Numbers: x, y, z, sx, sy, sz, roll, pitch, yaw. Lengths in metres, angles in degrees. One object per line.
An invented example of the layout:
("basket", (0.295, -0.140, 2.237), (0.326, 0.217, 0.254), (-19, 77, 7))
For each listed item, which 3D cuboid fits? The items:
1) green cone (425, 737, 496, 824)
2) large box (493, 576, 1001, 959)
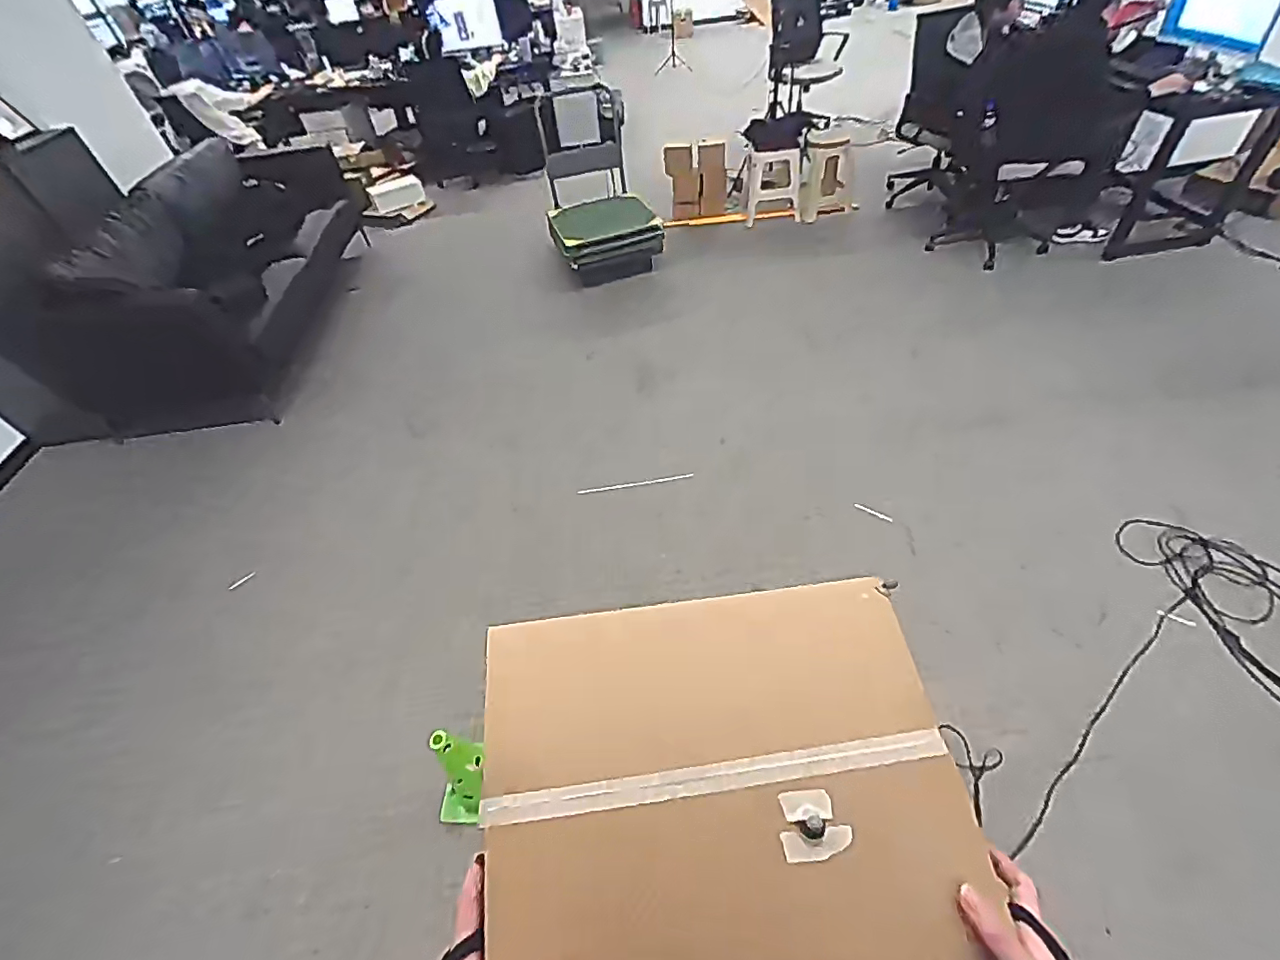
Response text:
("green cone", (-0.459, 0.723, 1.373), (0.200, 0.368, 0.202), (-3, 48, 5))
("large box", (0.067, 0.332, 0.611), (0.408, 0.320, 0.320), (-7, 60, -4))
